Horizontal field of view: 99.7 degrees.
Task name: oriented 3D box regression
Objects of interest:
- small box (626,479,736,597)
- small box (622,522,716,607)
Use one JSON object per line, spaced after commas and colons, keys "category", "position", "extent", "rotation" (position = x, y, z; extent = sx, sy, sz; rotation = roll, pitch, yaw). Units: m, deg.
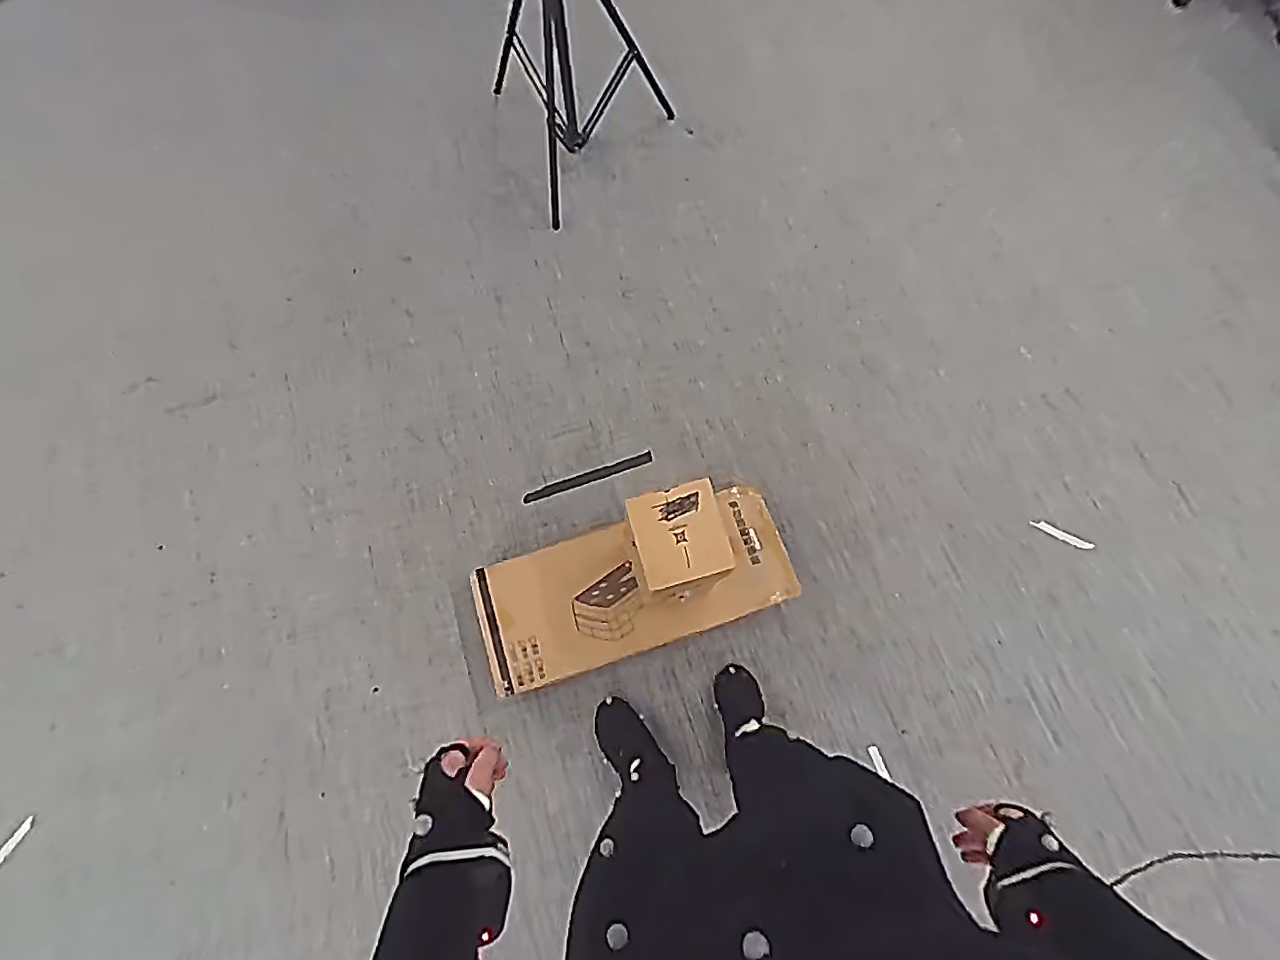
{"category": "small box", "position": [0.071, 0.119, 1.056], "extent": [0.168, 0.176, 0.179], "rotation": [-15, 74, -4]}
{"category": "small box", "position": [0.062, 0.172, 1.211], "extent": [0.168, 0.176, 0.179], "rotation": [-19, 74, -5]}
